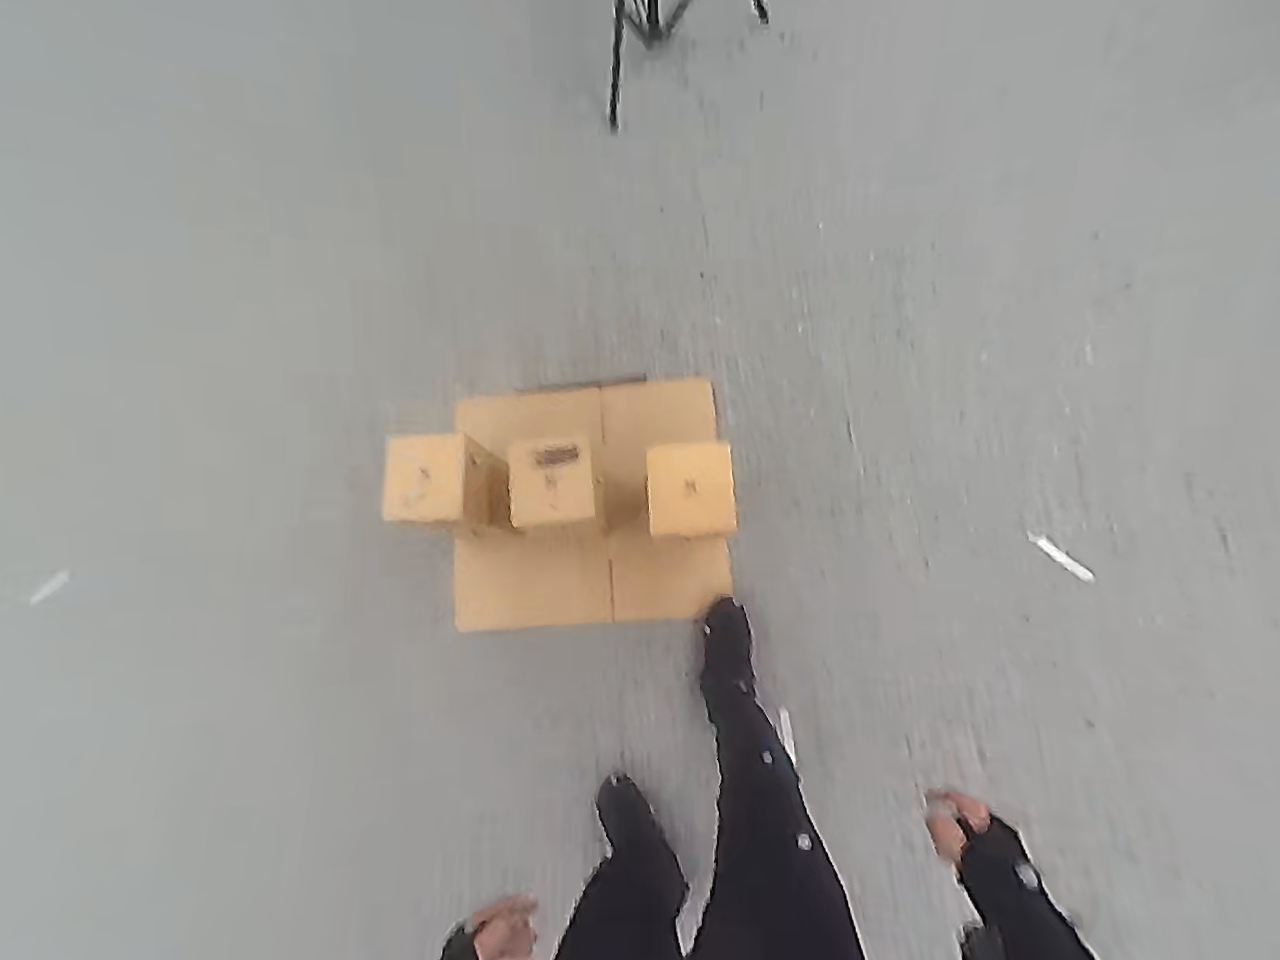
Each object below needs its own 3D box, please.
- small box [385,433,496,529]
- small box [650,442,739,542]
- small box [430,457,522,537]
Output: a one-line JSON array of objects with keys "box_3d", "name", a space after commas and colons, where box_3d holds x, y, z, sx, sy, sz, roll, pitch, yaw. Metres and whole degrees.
[{"box_3d": [-0.417, 0.008, 1.159, 0.168, 0.176, 0.179, -2, 78, 5], "name": "small box"}, {"box_3d": [0.108, 0.031, 1.113, 0.168, 0.176, 0.179, -4, 79, 4], "name": "small box"}, {"box_3d": [-0.392, 0.048, 1.318, 0.168, 0.176, 0.179, -2, 79, 5], "name": "small box"}]
